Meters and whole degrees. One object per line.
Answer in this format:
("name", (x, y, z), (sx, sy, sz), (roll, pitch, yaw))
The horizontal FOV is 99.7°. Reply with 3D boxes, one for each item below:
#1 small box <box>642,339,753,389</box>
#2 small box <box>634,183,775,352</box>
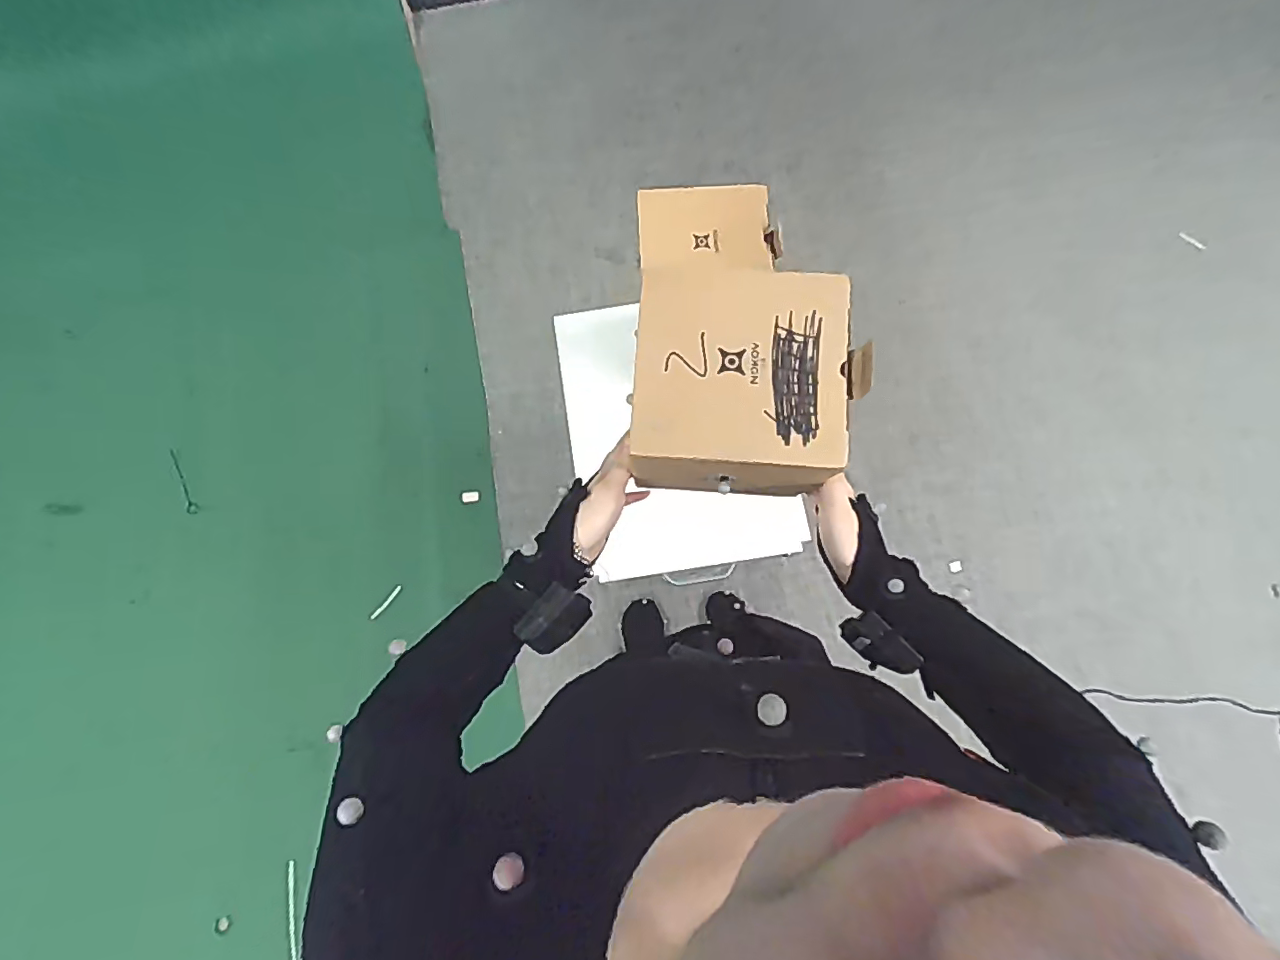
("small box", (0.092, -0.265, 0.944), (0.179, 0.176, 0.168), (-2, 78, 1))
("small box", (0.084, -0.296, 0.784), (0.179, 0.176, 0.168), (-3, 78, 0))
